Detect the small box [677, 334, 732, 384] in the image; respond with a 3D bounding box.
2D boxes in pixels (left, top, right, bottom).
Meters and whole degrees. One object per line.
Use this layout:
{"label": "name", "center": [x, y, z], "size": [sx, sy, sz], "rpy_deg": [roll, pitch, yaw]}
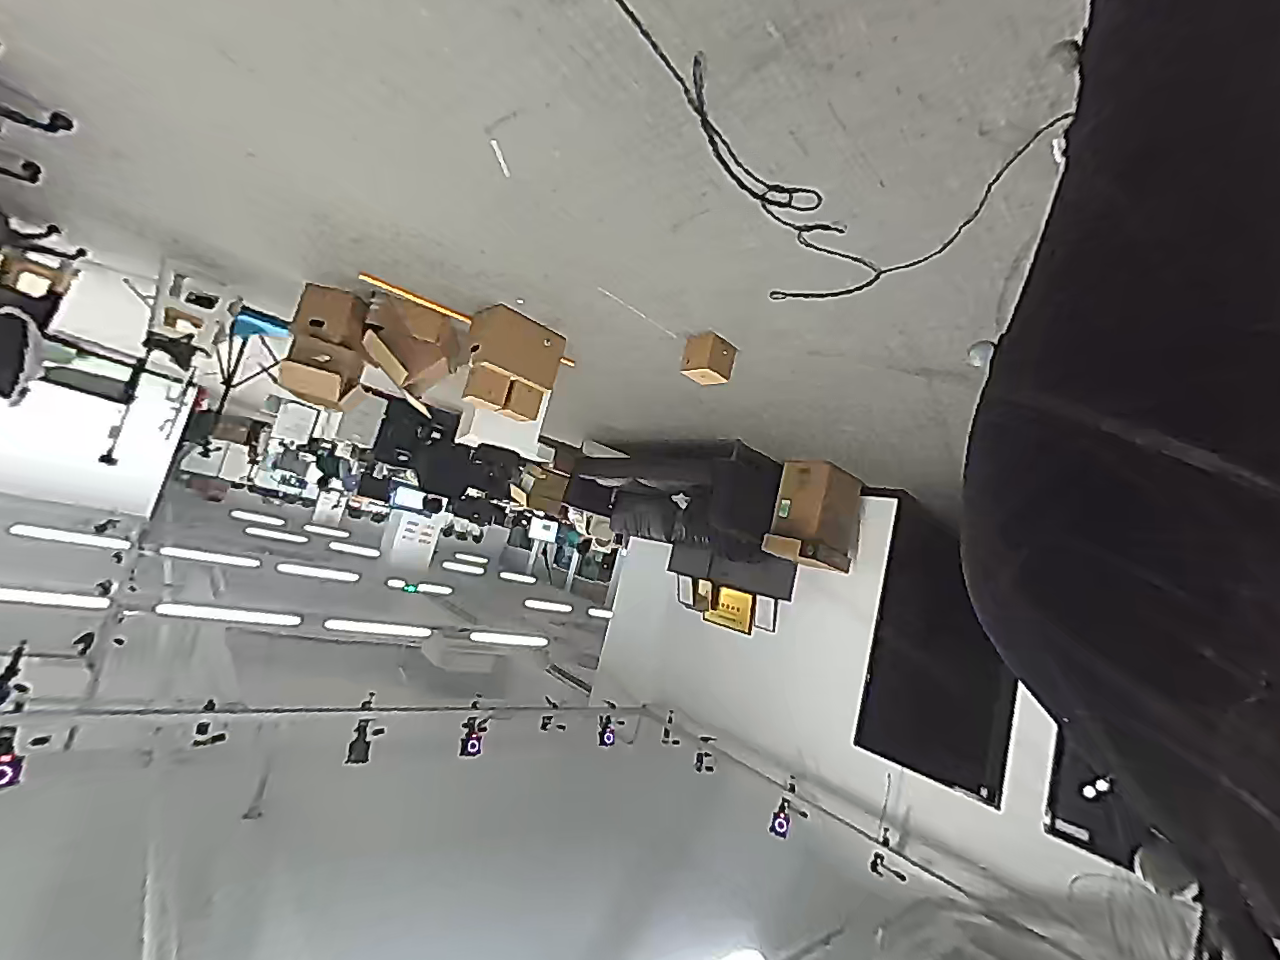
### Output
{"label": "small box", "center": [0.304, -0.558, 2.500], "size": [0.168, 0.176, 0.179], "rpy_deg": [20, 170, -39]}
